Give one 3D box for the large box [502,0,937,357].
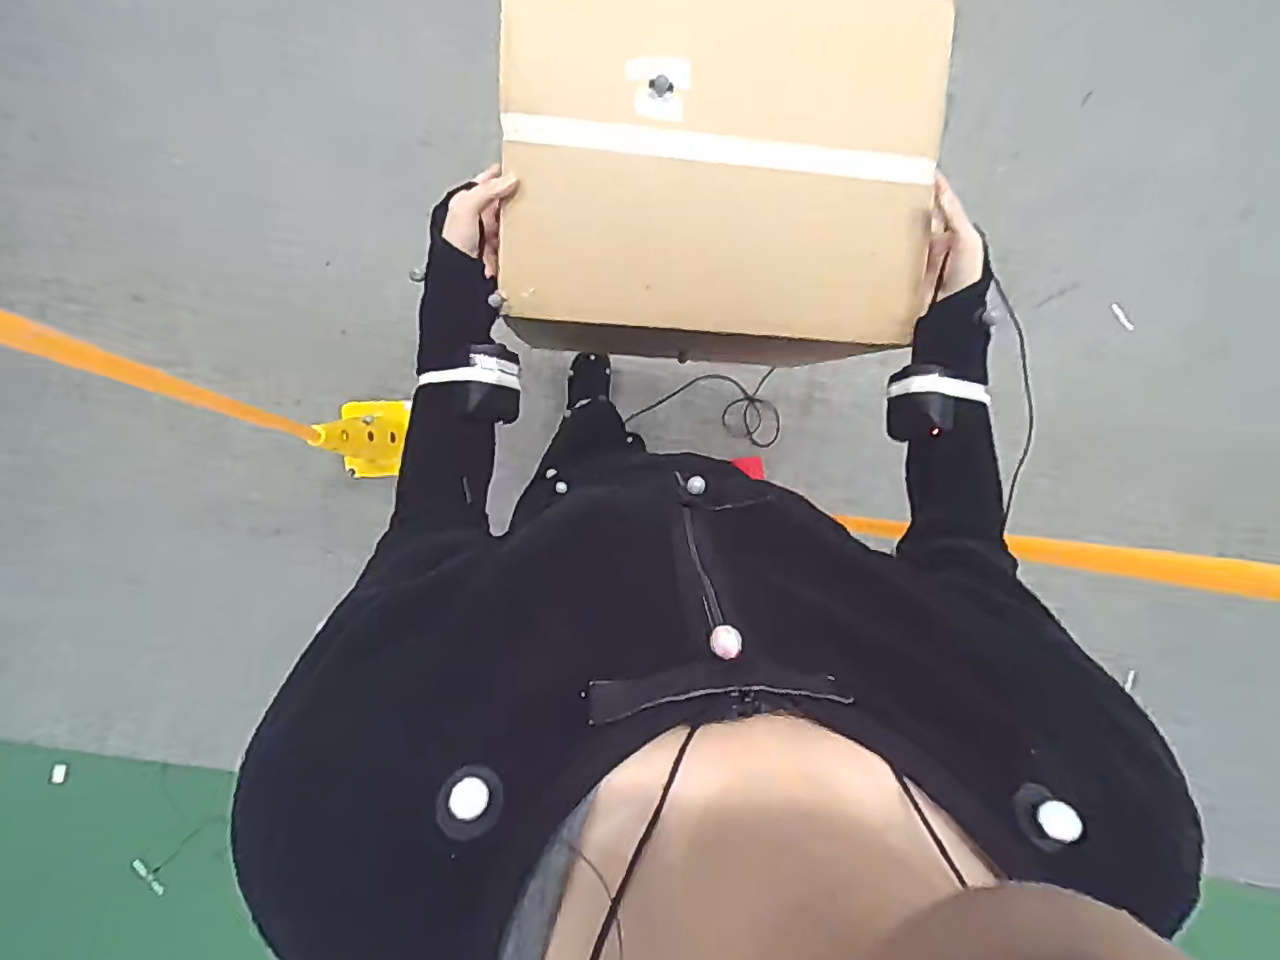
[{"bbox_3d":[0.062,-0.322,0.651,0.408,0.320,0.320,2,97,-6],"label":"large box"}]
